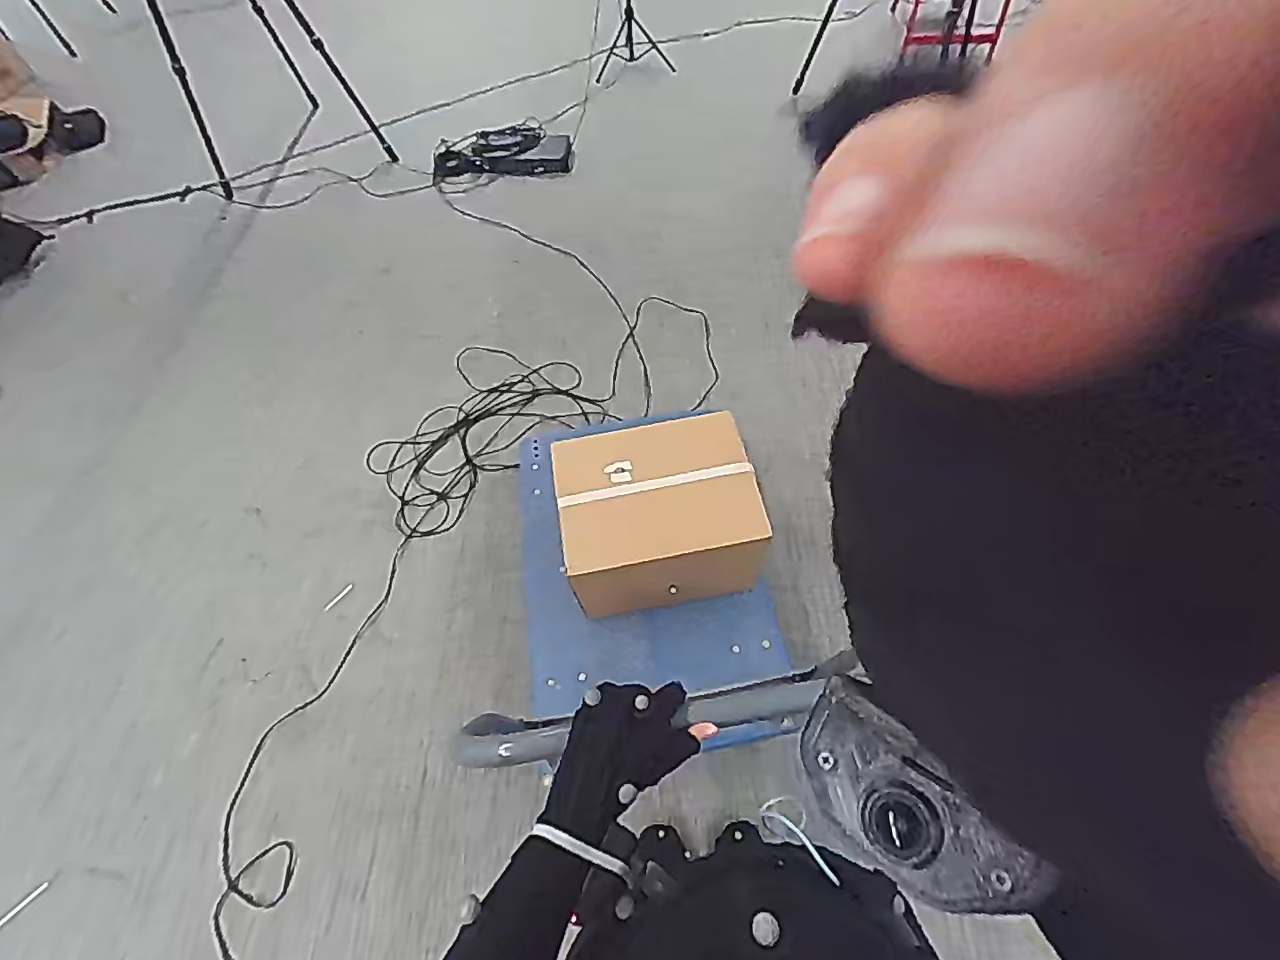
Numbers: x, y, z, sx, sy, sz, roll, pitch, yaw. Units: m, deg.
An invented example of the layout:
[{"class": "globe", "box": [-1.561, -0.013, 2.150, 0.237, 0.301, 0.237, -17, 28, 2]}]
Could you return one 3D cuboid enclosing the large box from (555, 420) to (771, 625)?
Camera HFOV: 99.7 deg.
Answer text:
[{"class": "large box", "box": [0.048, 0.109, 1.246, 0.408, 0.320, 0.320, -12, 58, -1]}]
